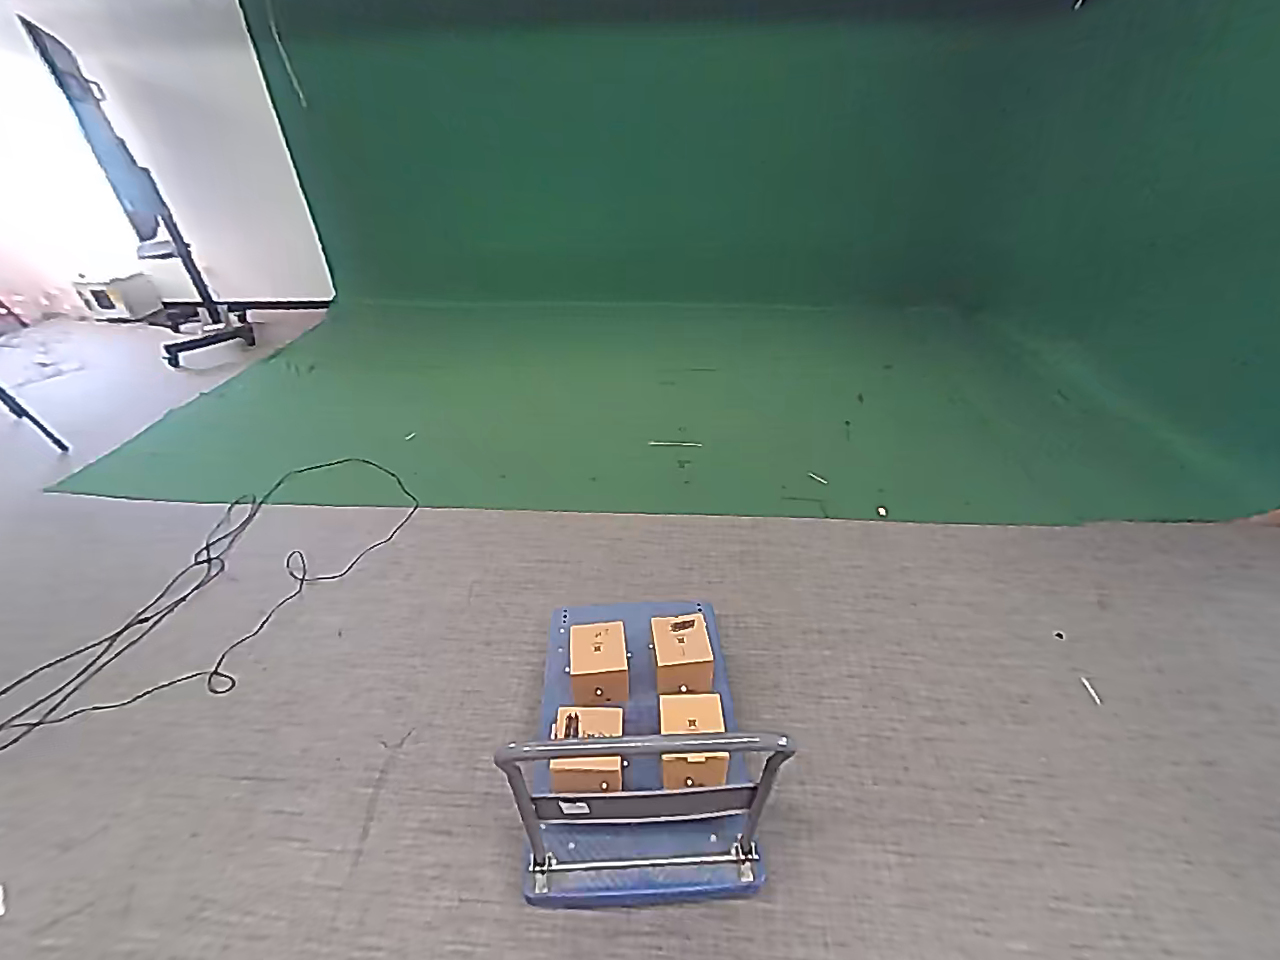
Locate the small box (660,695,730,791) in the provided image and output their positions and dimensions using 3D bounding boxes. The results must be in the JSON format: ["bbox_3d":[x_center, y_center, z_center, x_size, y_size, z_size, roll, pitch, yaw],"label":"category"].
[{"bbox_3d":[0.140,0.703,1.448,0.168,0.176,0.179,-1,37,-1],"label":"small box"}]

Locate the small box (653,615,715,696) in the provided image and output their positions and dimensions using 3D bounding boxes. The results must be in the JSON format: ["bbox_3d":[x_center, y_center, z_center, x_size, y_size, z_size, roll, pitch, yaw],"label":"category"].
[{"bbox_3d":[0.129,0.542,1.665,0.168,0.176,0.179,-5,37,-3],"label":"small box"}]

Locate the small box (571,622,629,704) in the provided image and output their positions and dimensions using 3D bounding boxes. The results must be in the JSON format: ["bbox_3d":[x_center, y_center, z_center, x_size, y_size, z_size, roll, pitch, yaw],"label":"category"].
[{"bbox_3d":[-0.121,0.562,1.645,0.168,0.176,0.179,-3,36,-5],"label":"small box"}]
